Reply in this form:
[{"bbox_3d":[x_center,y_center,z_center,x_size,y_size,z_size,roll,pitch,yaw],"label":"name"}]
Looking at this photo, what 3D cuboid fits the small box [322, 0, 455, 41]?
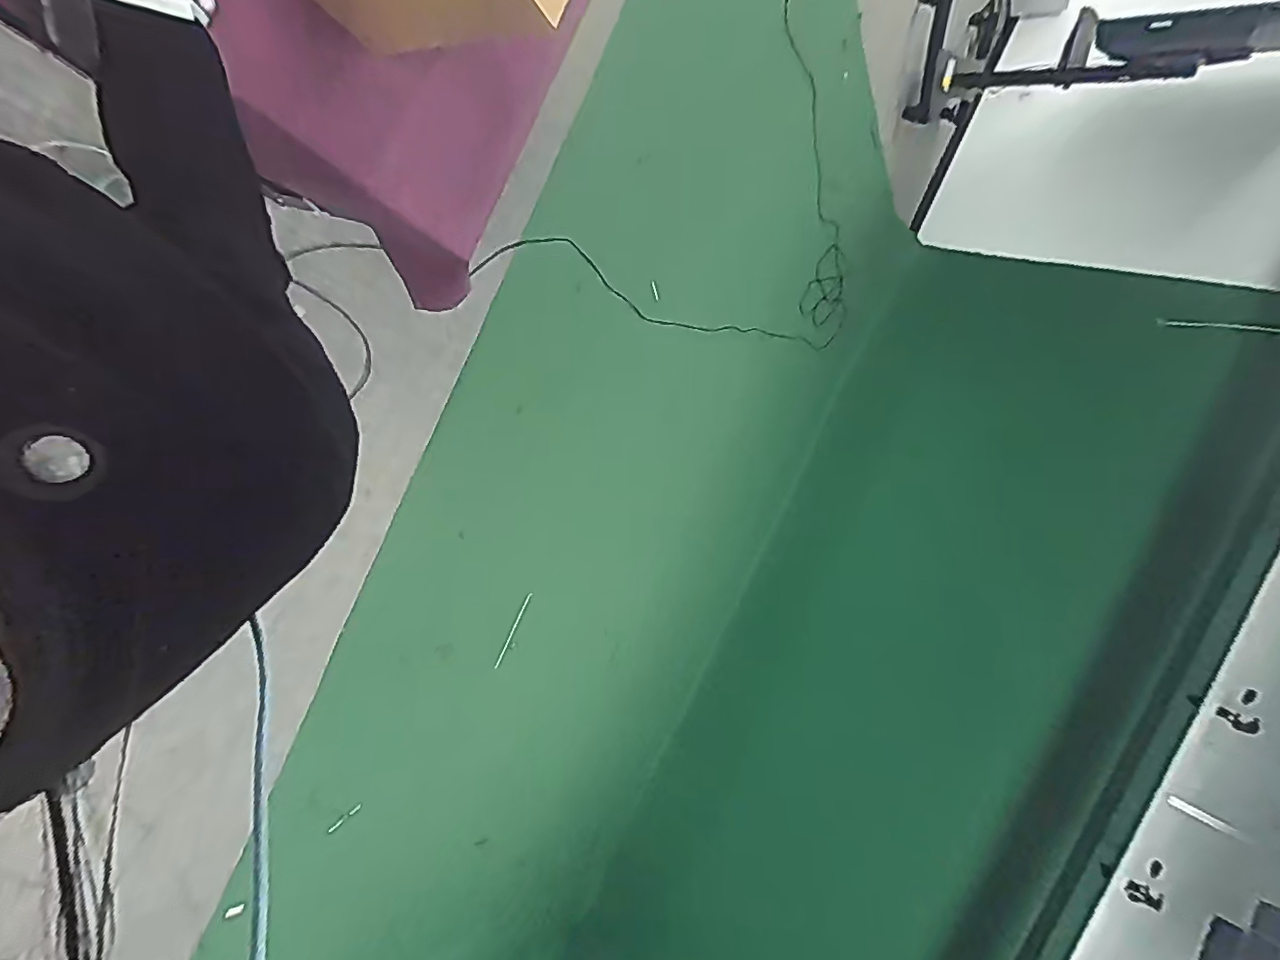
[{"bbox_3d":[-0.266,-0.568,0.518,0.179,0.176,0.168,19,96,-55],"label":"small box"}]
